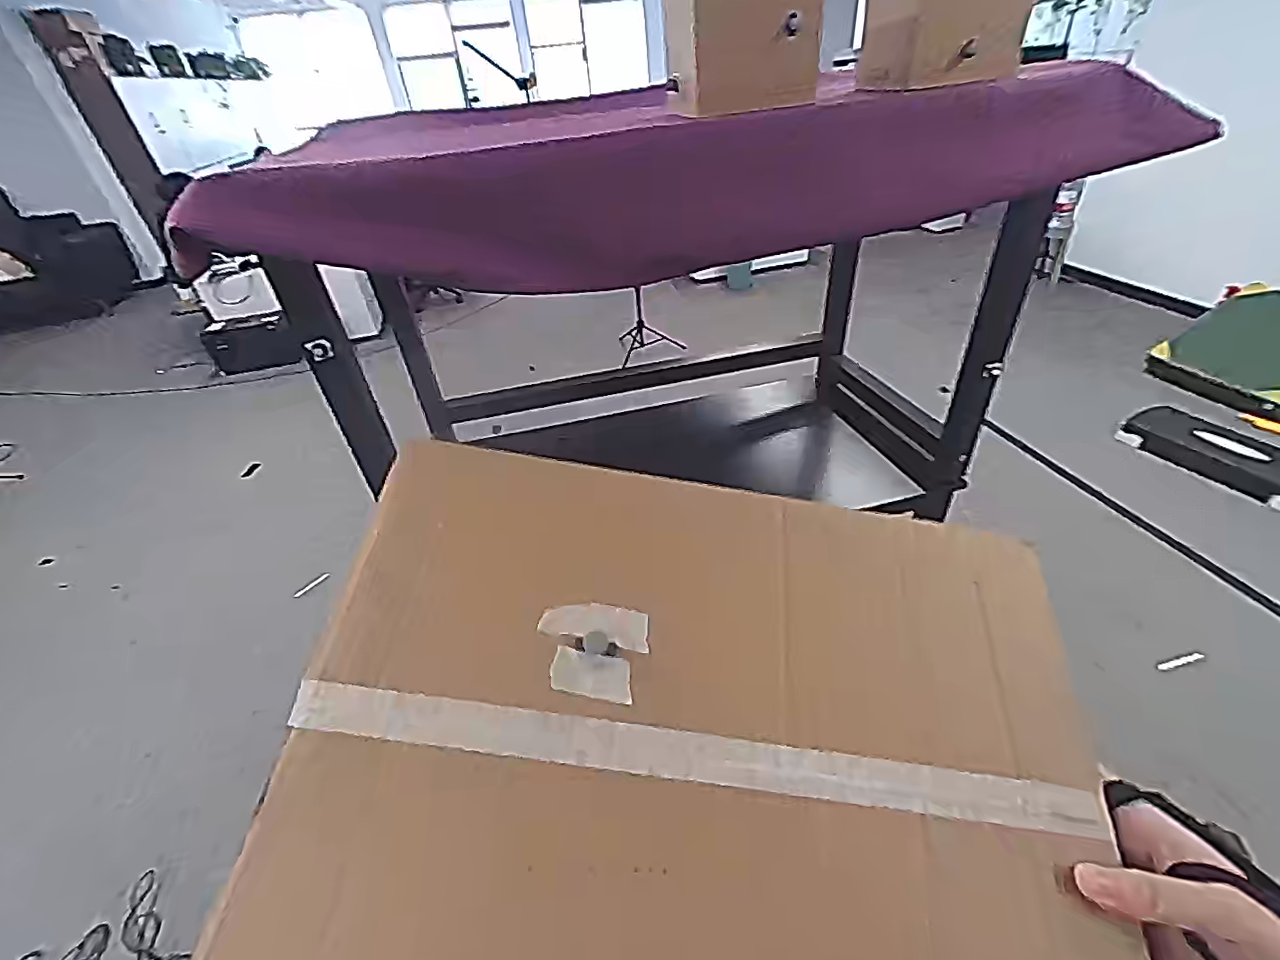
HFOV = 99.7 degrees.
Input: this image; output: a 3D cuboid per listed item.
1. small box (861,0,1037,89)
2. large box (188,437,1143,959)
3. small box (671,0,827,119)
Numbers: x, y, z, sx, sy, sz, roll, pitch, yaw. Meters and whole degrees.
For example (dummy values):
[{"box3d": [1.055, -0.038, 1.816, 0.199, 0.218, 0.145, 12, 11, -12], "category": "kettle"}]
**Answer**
[{"box3d": [0.454, -0.692, 0.798, 0.179, 0.176, 0.168, -9, 36, -3], "category": "small box"}, {"box3d": [0.020, 0.201, 0.392, 0.408, 0.320, 0.320, 8, 60, -1], "category": "large box"}, {"box3d": [0.144, -0.617, 0.752, 0.179, 0.176, 0.168, -11, 36, -5], "category": "small box"}]
